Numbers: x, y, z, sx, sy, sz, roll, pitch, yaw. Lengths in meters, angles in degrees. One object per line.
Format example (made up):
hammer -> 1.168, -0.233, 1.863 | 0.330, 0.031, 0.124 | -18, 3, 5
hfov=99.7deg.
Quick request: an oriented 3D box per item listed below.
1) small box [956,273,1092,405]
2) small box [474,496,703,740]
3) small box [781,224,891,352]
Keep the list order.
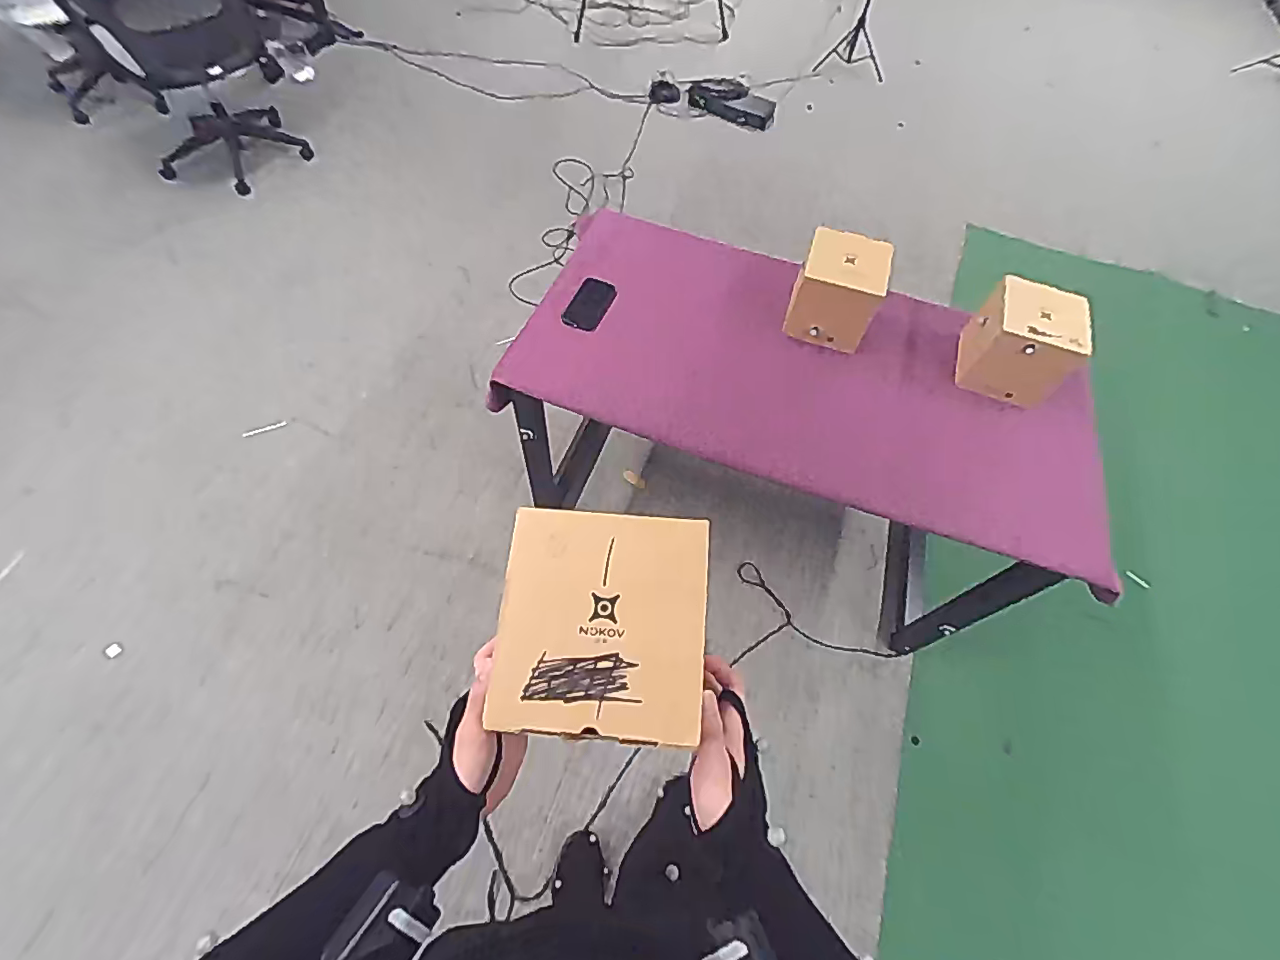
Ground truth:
small box -> 0.784, -0.288, 1.120 | 0.168, 0.176, 0.179 | 19, 60, 9
small box -> -0.033, 0.127, 0.497 | 0.168, 0.176, 0.179 | 4, 70, 3
small box -> 0.418, -0.412, 1.169 | 0.168, 0.176, 0.179 | 18, 60, 7
